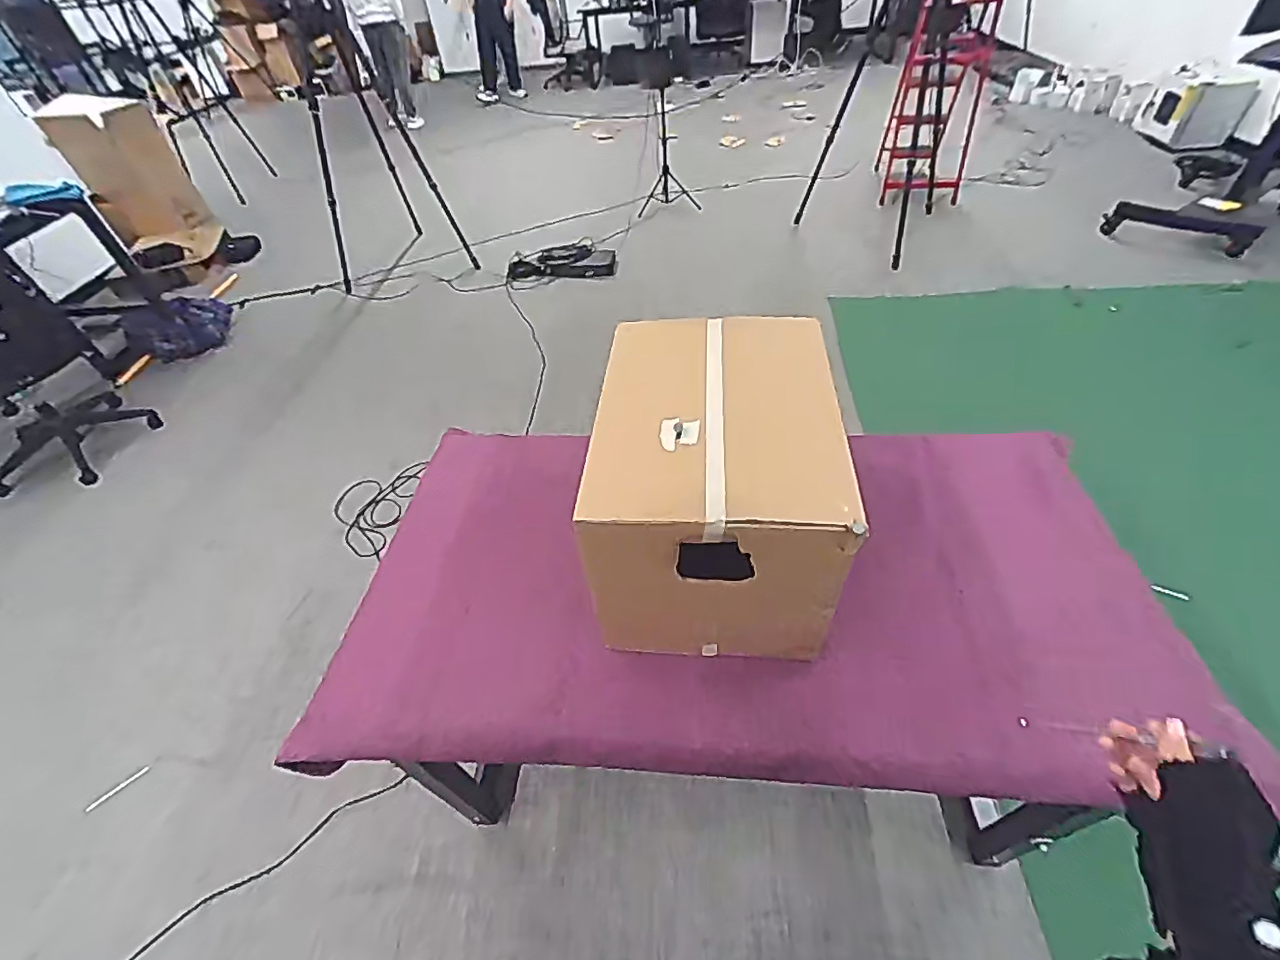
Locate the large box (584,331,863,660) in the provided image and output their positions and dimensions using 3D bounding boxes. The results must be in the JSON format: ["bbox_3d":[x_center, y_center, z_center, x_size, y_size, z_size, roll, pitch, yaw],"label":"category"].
[{"bbox_3d":[0.113,0.015,0.832,0.320,0.320,0.408,1,48,7],"label":"large box"}]
